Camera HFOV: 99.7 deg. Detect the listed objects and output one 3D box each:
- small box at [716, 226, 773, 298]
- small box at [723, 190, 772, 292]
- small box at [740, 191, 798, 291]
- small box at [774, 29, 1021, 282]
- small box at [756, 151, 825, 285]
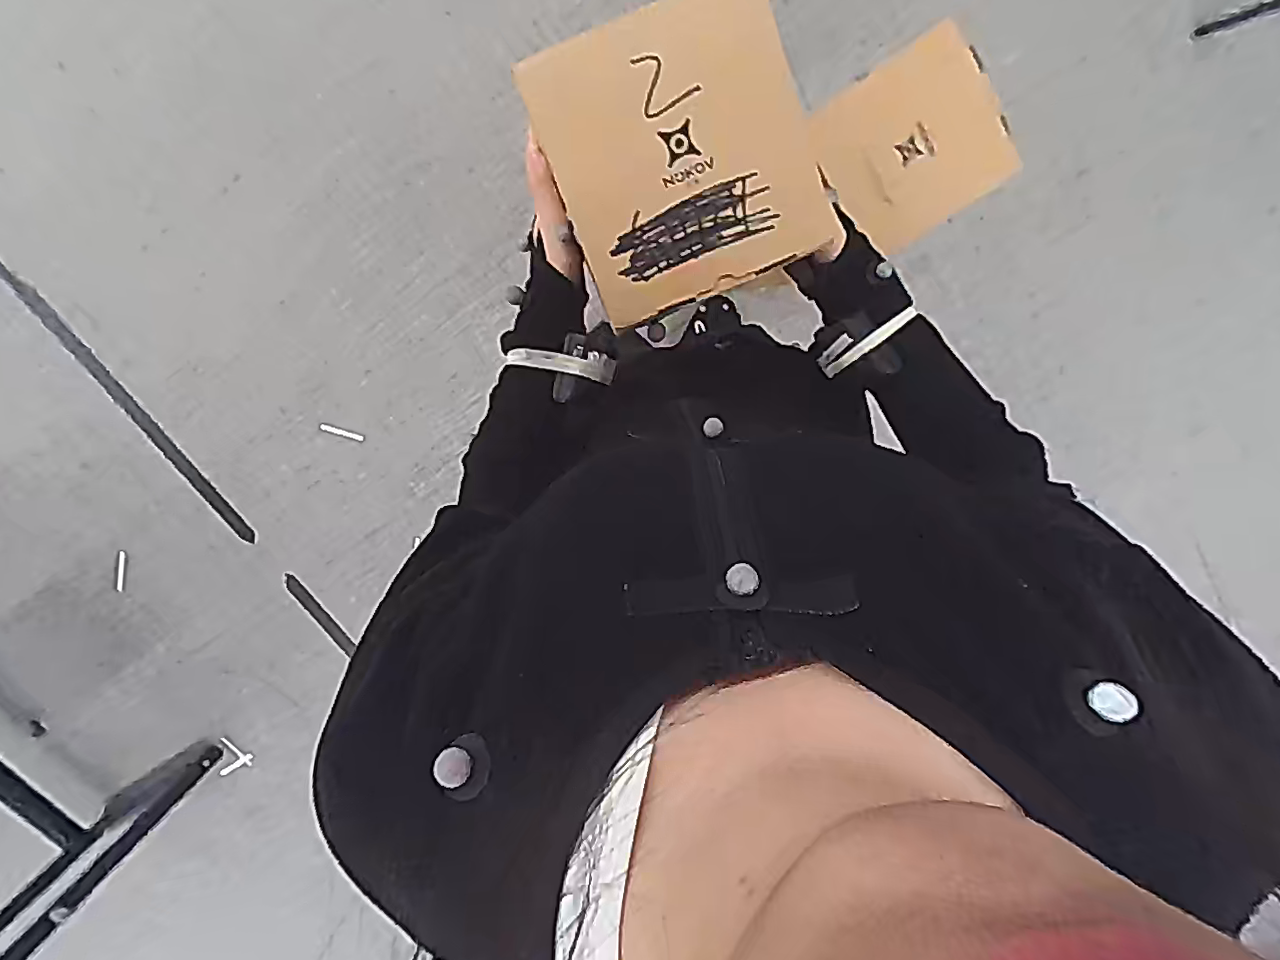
[{"bbox_3d":[0.292,-0.545,1.256,0.168,0.176,0.179,-31,104,10],"label":"small box"},{"bbox_3d":[0.283,-0.500,1.098,0.168,0.176,0.179,-29,104,10],"label":"small box"},{"bbox_3d":[0.287,-0.447,0.943,0.179,0.176,0.168,-29,104,10],"label":"small box"},{"bbox_3d":[0.282,-0.353,0.631,0.179,0.176,0.168,-32,103,11],"label":"small box"},{"bbox_3d":[0.284,-0.402,0.785,0.179,0.176,0.168,-30,104,9],"label":"small box"}]
